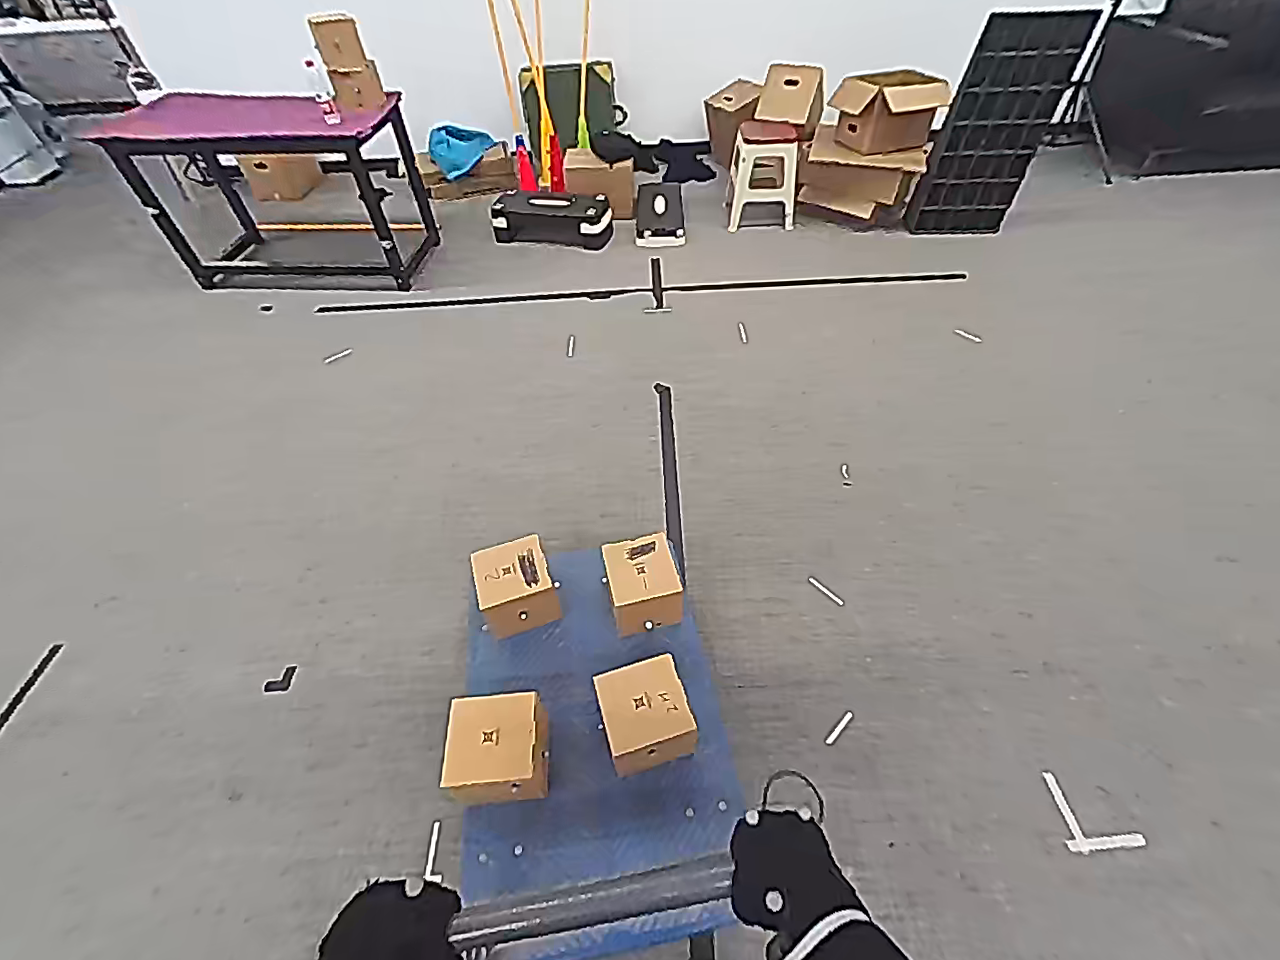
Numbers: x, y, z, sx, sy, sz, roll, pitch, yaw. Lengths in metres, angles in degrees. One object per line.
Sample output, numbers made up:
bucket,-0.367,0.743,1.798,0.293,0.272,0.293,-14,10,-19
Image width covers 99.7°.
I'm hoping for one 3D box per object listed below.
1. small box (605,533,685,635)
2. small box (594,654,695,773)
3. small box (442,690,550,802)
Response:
small box,0.010,0.263,1.365,0.168,0.176,0.179,-11,51,-7
small box,0.011,0.504,1.158,0.179,0.176,0.168,-14,50,-9
small box,-0.291,0.557,1.128,0.179,0.176,0.168,-4,49,-3
